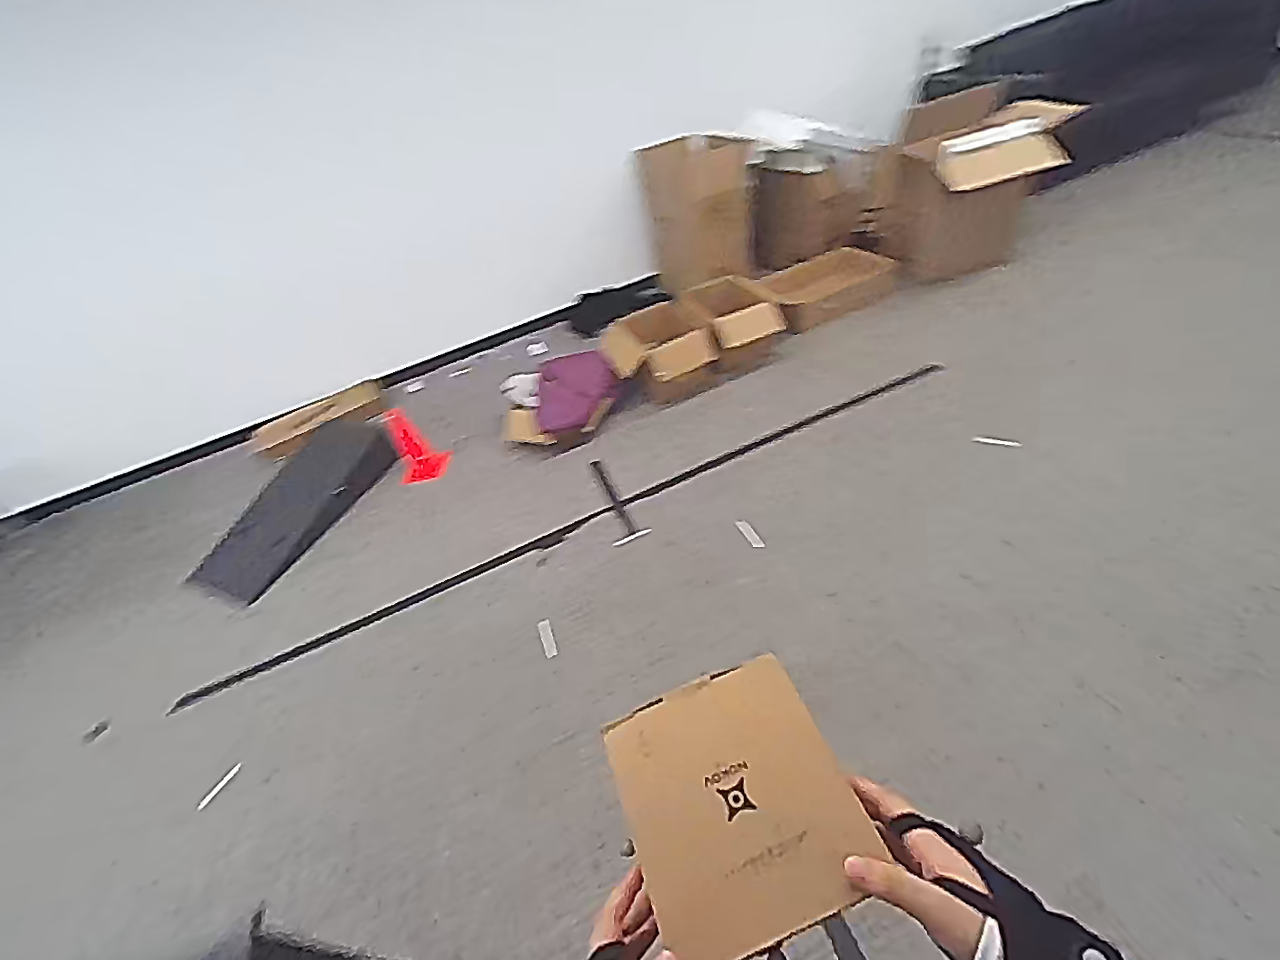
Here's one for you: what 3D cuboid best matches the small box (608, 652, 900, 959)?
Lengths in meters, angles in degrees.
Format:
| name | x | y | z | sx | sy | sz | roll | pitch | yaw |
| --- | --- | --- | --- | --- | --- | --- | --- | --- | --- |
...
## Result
| name | x | y | z | sx | sy | sz | roll | pitch | yaw |
| --- | --- | --- | --- | --- | --- | --- | --- | --- | --- |
| small box | 0.084 | 0.285 | 0.468 | 0.168 | 0.176 | 0.179 | -20 | 49 | -6 |
